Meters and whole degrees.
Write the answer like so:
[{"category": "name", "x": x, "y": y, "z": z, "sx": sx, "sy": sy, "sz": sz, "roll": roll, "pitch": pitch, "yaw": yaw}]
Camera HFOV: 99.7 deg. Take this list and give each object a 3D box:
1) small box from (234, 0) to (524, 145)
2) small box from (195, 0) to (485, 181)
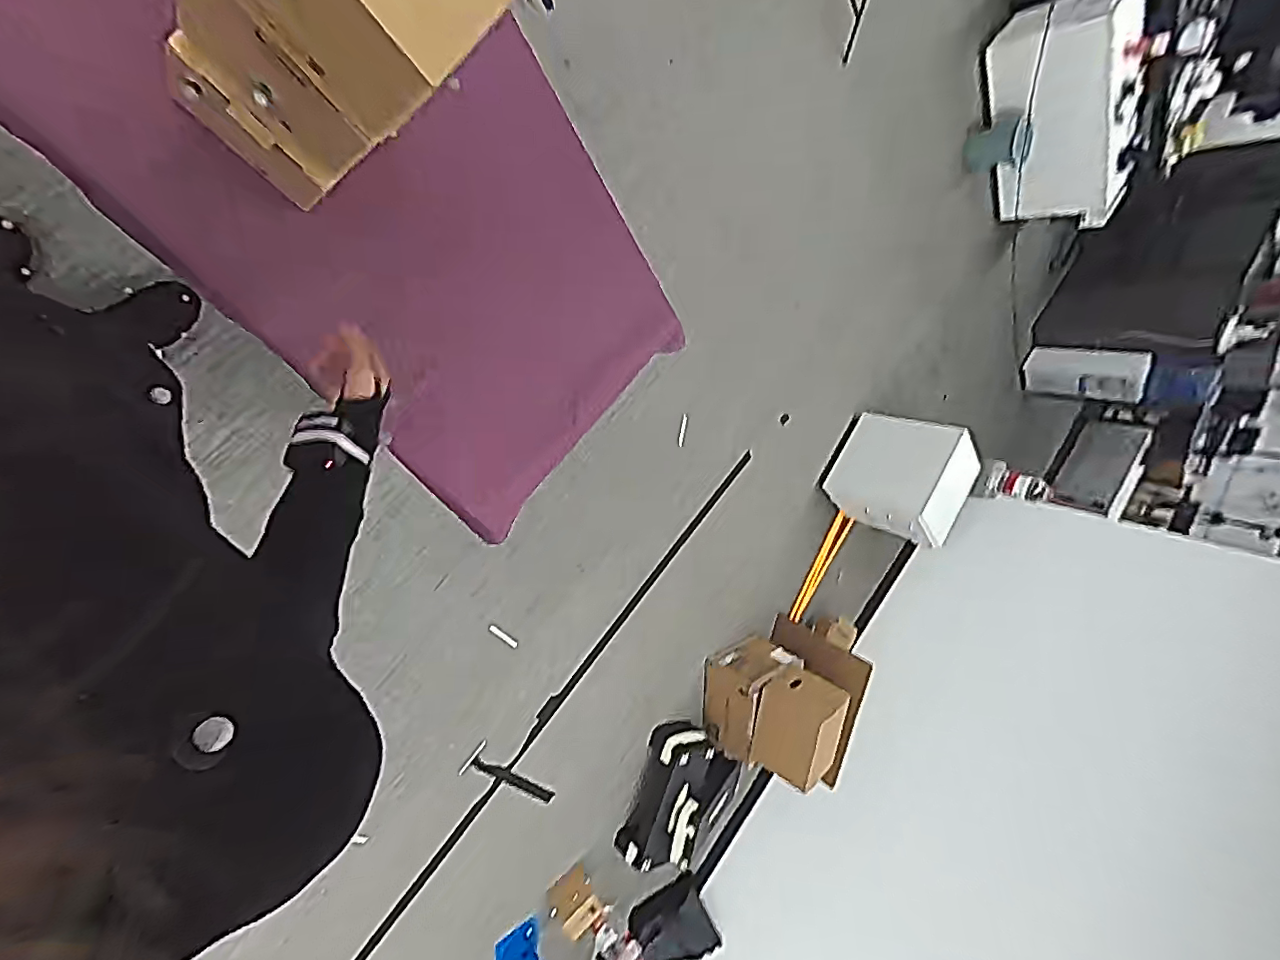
[{"category": "small box", "x": -0.191, "y": -0.391, "z": 0.398, "sx": 0.168, "sy": 0.176, "sz": 0.179, "roll": 41, "pitch": 75, "yaw": -40}, {"category": "small box", "x": -0.290, "y": -0.428, "z": 0.522, "sx": 0.168, "sy": 0.176, "sz": 0.179, "roll": 45, "pitch": 74, "yaw": -39}]
